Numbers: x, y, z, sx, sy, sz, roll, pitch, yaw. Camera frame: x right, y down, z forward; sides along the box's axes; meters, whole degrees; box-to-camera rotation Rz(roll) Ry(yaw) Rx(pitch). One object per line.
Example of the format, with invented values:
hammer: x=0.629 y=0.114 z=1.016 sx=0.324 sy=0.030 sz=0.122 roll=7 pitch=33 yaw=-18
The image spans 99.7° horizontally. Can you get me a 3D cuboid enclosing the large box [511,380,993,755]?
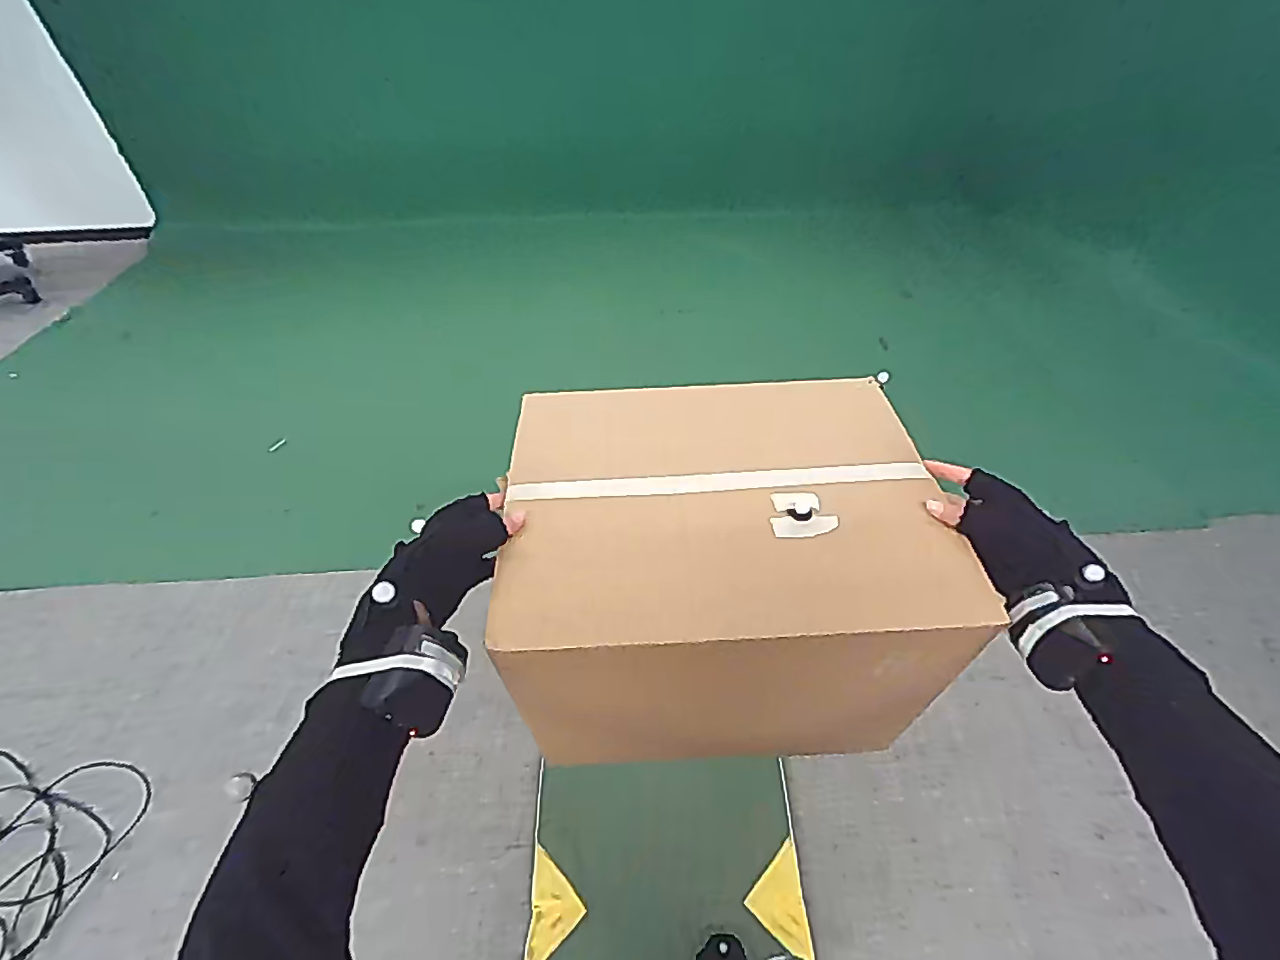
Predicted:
large box: x=0.085 y=0.105 z=0.642 sx=0.408 sy=0.320 sz=0.320 roll=-3 pitch=48 yaw=-1
